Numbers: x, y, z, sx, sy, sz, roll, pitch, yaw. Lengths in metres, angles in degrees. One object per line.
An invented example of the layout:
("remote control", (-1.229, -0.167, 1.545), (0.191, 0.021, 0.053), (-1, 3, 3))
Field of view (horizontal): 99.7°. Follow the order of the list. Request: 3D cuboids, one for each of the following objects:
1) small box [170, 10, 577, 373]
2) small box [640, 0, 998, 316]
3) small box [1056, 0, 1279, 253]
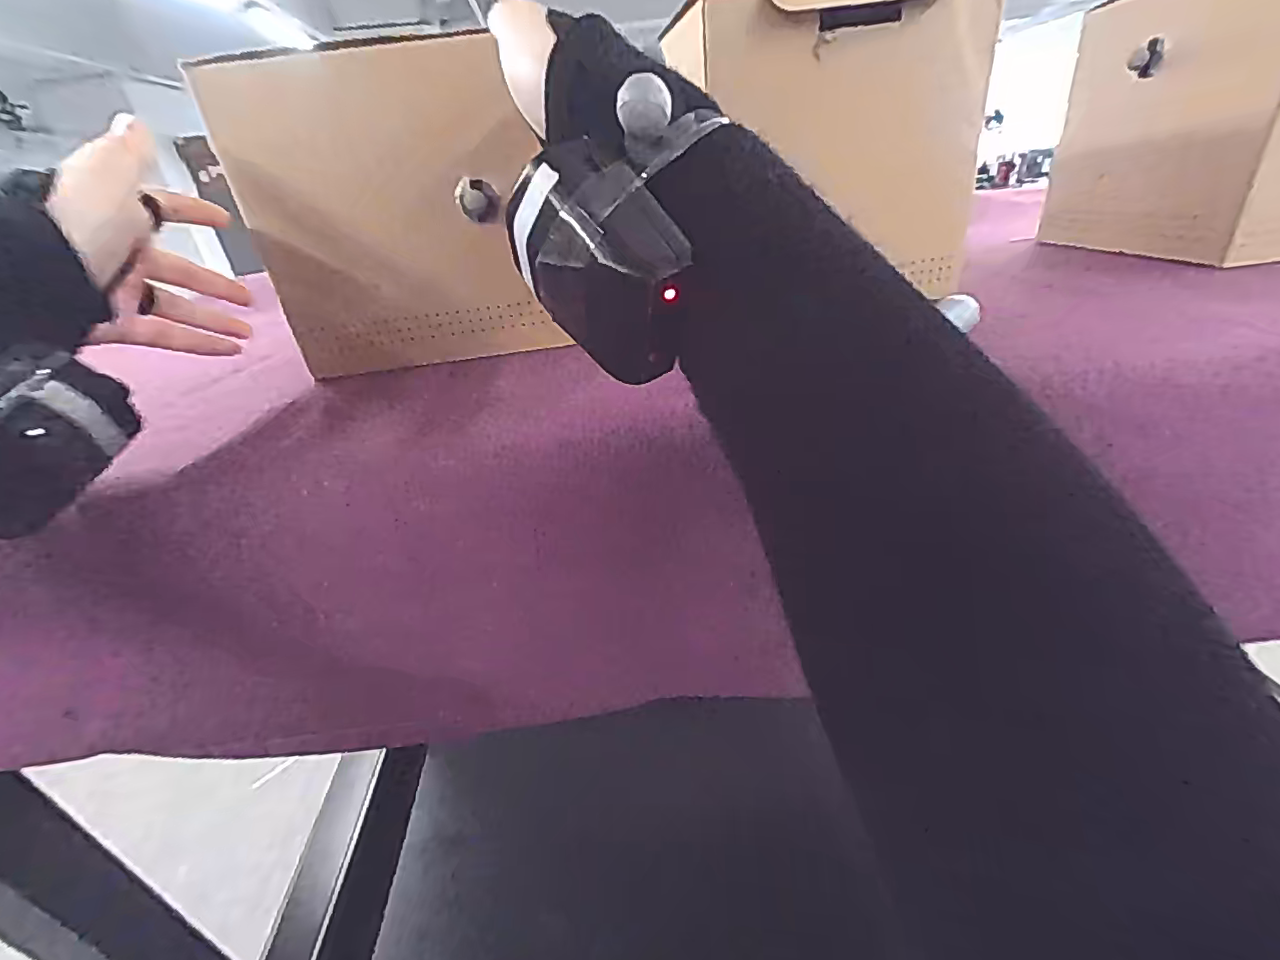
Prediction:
("small box", (-0.140, -0.185, 0.369), (0.179, 0.176, 0.168), (-9, 29, -2))
("small box", (0.102, -0.215, 0.368), (0.168, 0.176, 0.179), (-10, 28, -6))
("small box", (0.432, -0.255, 0.364), (0.168, 0.176, 0.179), (-7, 29, 2))
